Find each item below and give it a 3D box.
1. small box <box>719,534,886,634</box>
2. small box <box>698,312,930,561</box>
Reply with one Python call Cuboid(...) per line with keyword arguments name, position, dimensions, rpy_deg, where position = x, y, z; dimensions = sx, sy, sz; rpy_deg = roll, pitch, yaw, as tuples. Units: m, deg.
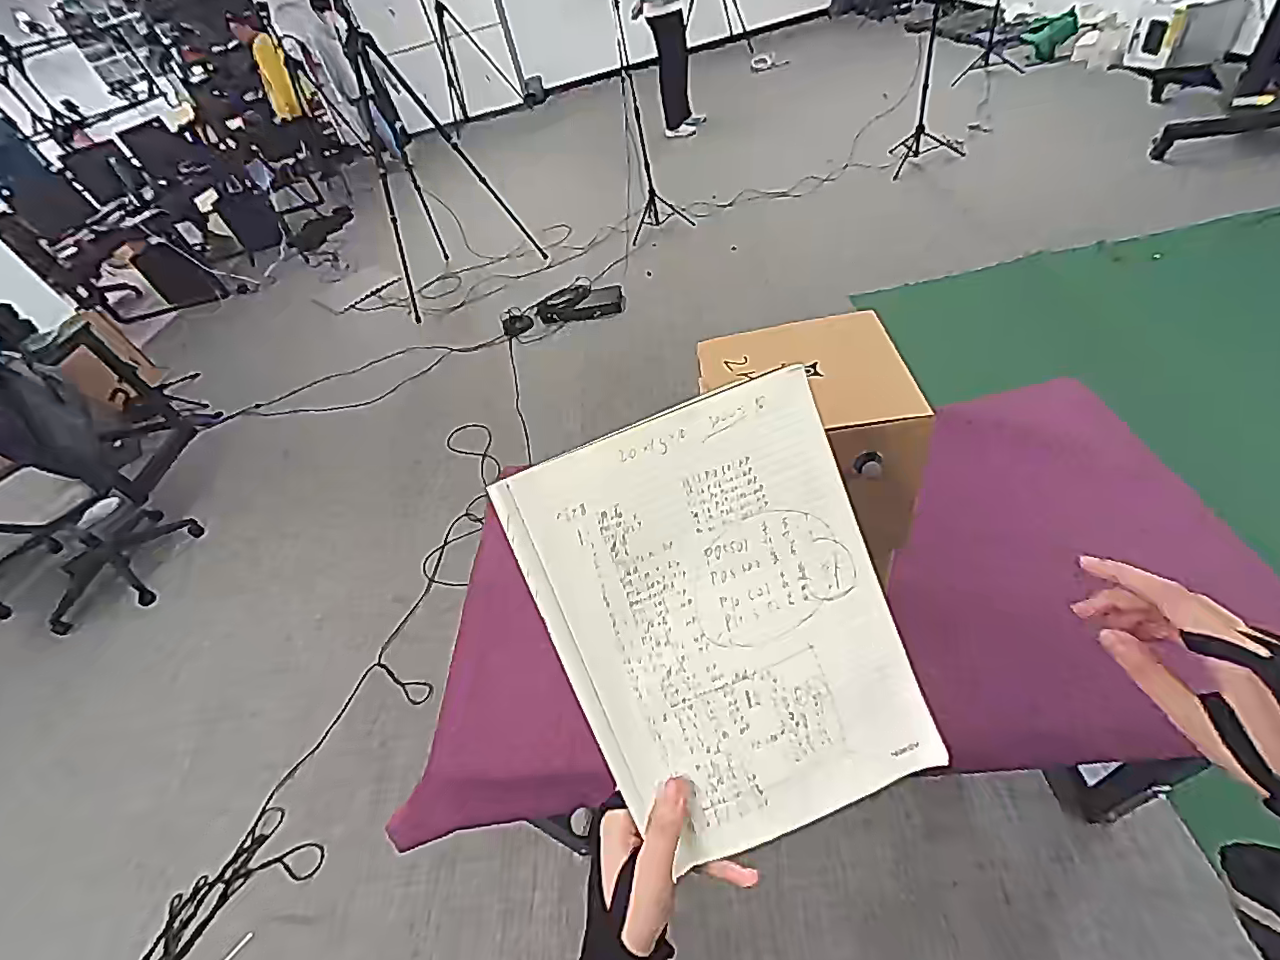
Cuboid(name="small box", position=(0.184, 0.072, 0.657), dimensions=(0.168, 0.176, 0.179), rpy_deg=(-10, 44, 8))
Cuboid(name="small box", position=(0.157, -0.038, 0.537), dimensions=(0.179, 0.176, 0.168), rpy_deg=(-8, 44, 10))
